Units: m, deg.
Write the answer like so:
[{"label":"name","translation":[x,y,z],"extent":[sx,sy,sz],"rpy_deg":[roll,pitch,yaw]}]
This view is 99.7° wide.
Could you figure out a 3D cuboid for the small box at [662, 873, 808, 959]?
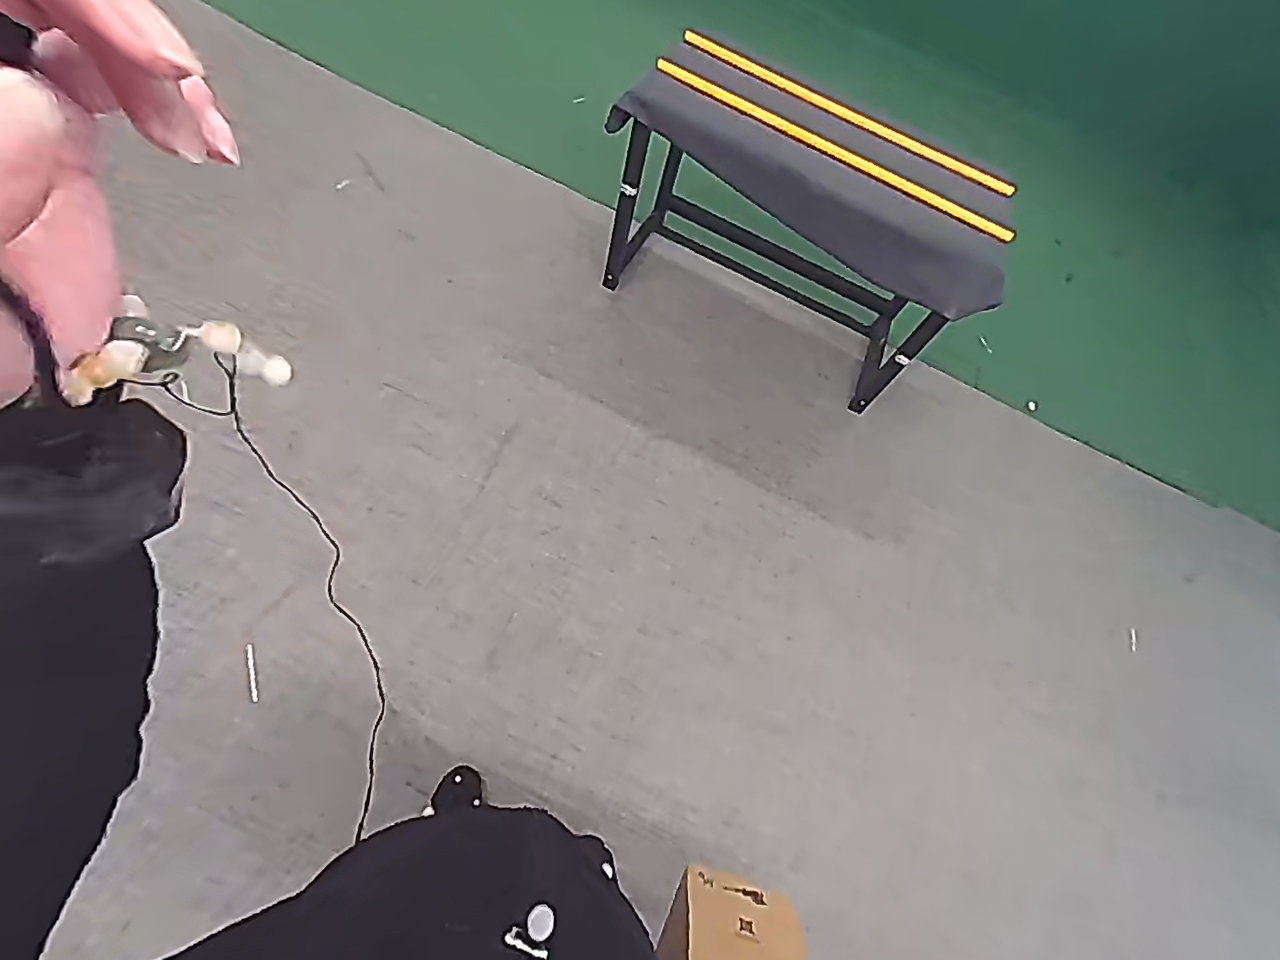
[{"label":"small box","translation":[0.123,0.692,0.727],"extent":[0.168,0.179,0.176],"rpy_deg":[16,94,1]}]
